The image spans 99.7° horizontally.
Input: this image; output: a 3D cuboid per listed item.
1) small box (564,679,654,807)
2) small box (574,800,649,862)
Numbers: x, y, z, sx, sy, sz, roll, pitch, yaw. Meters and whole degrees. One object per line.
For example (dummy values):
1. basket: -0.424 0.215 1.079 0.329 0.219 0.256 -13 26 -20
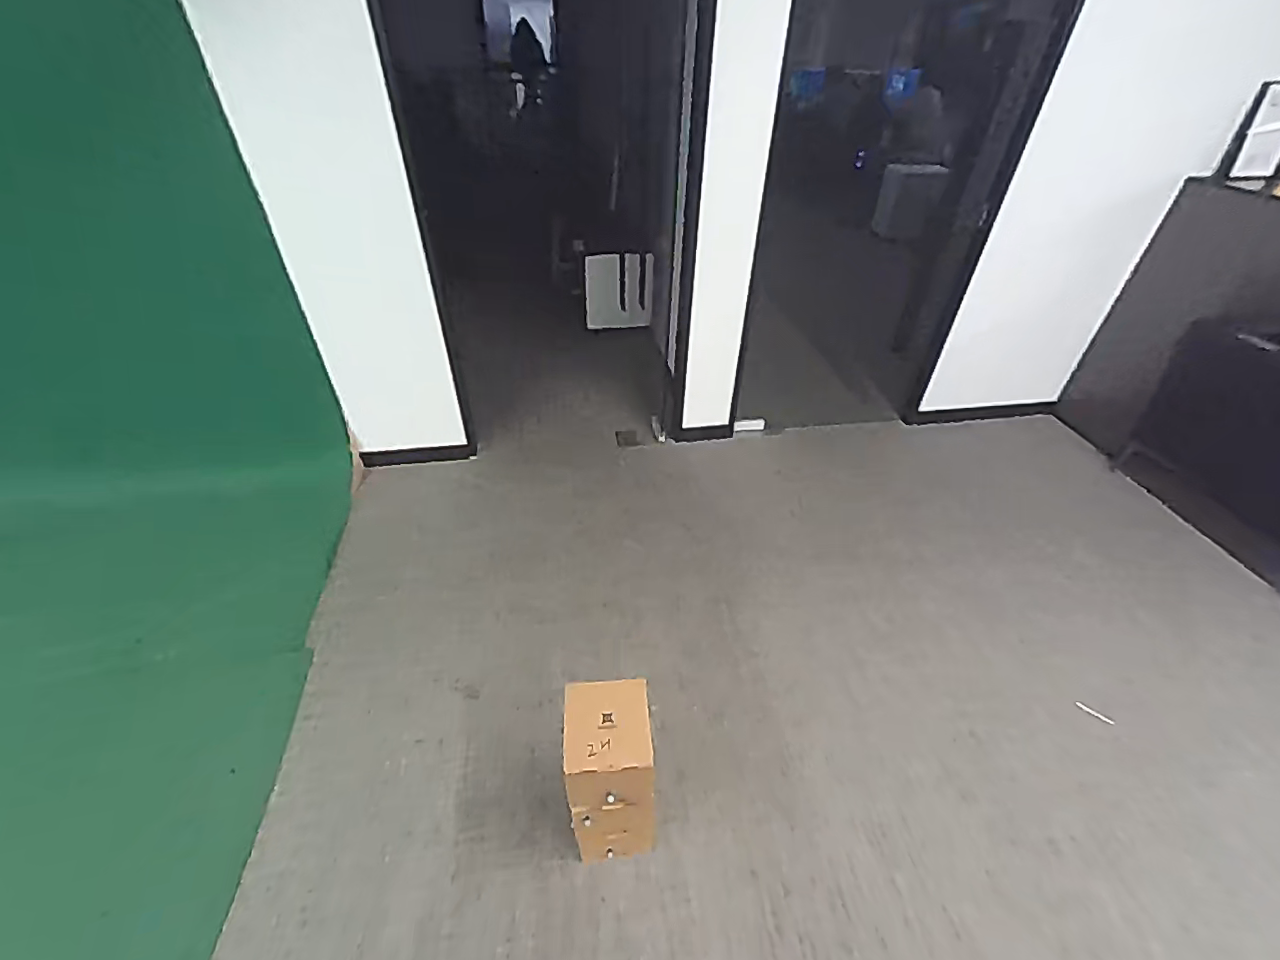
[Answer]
1. small box: -0.065 0.528 1.090 0.168 0.176 0.179 -2 40 -5
2. small box: -0.074 0.781 1.299 0.168 0.176 0.179 -4 41 -8
